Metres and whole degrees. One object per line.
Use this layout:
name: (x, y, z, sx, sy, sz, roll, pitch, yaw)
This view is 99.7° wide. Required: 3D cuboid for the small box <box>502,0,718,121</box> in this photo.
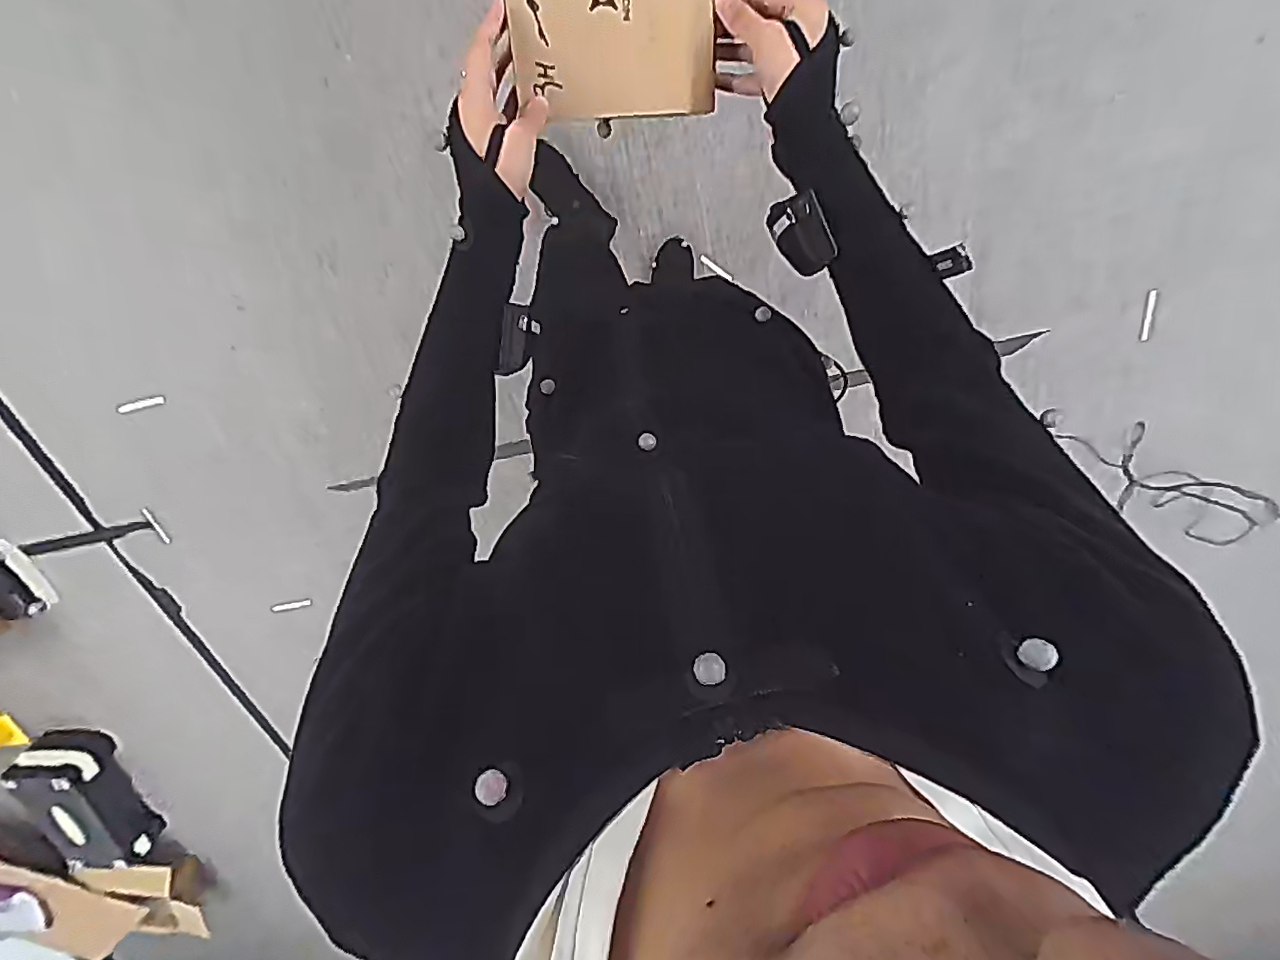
small box: (-0.035, -0.432, 0.497, 0.179, 0.176, 0.168, -7, 124, -8)
